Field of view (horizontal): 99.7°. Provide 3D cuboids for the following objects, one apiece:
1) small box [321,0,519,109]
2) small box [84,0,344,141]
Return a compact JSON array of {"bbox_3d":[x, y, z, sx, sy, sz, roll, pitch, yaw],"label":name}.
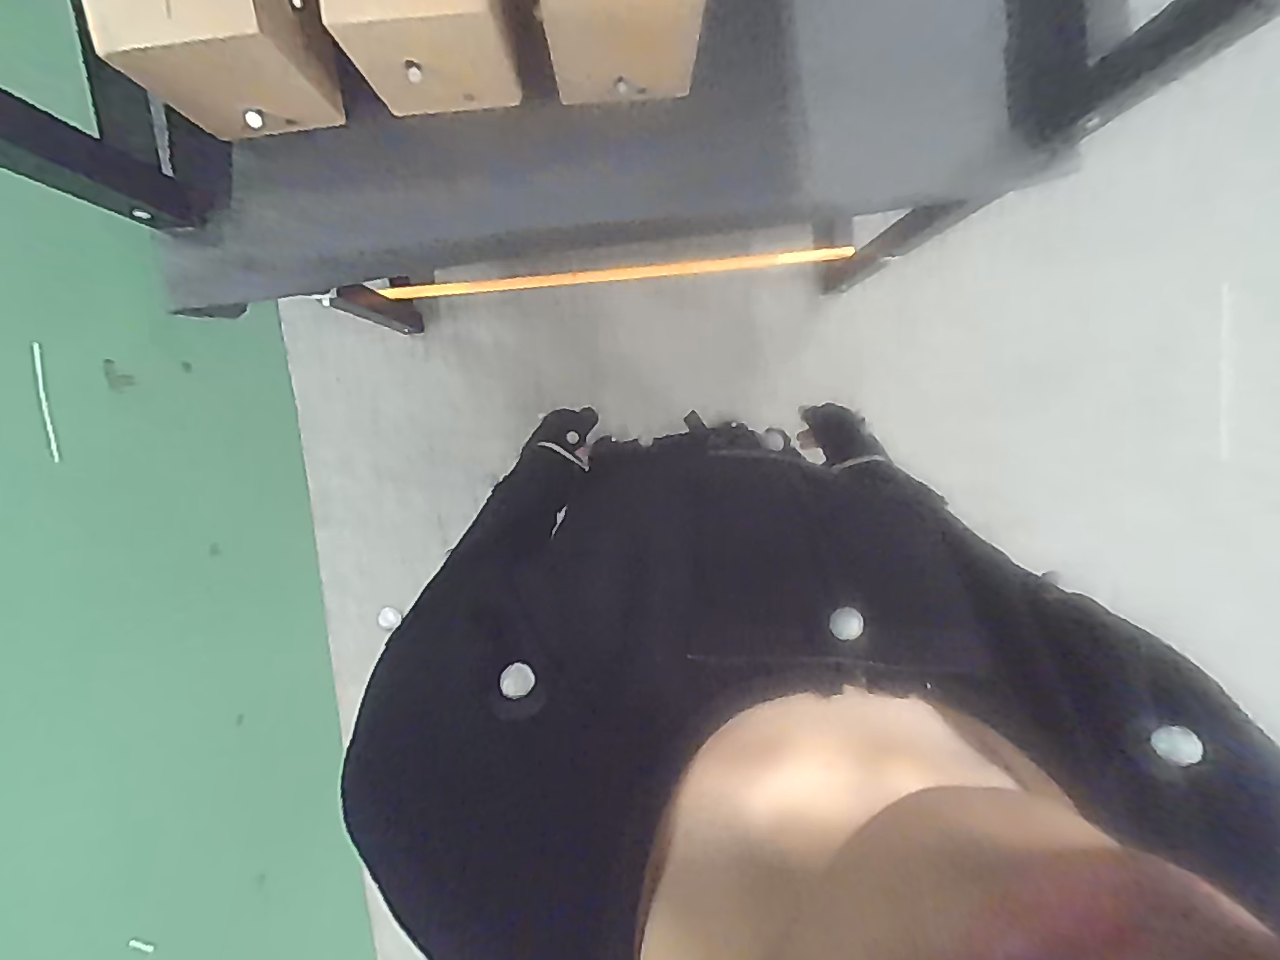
[{"bbox_3d":[-0.238,-0.547,0.604,0.168,0.176,0.179,-5,95,-1],"label":"small box"},{"bbox_3d":[-0.464,-0.520,0.602,0.168,0.176,0.179,-8,96,0],"label":"small box"}]
